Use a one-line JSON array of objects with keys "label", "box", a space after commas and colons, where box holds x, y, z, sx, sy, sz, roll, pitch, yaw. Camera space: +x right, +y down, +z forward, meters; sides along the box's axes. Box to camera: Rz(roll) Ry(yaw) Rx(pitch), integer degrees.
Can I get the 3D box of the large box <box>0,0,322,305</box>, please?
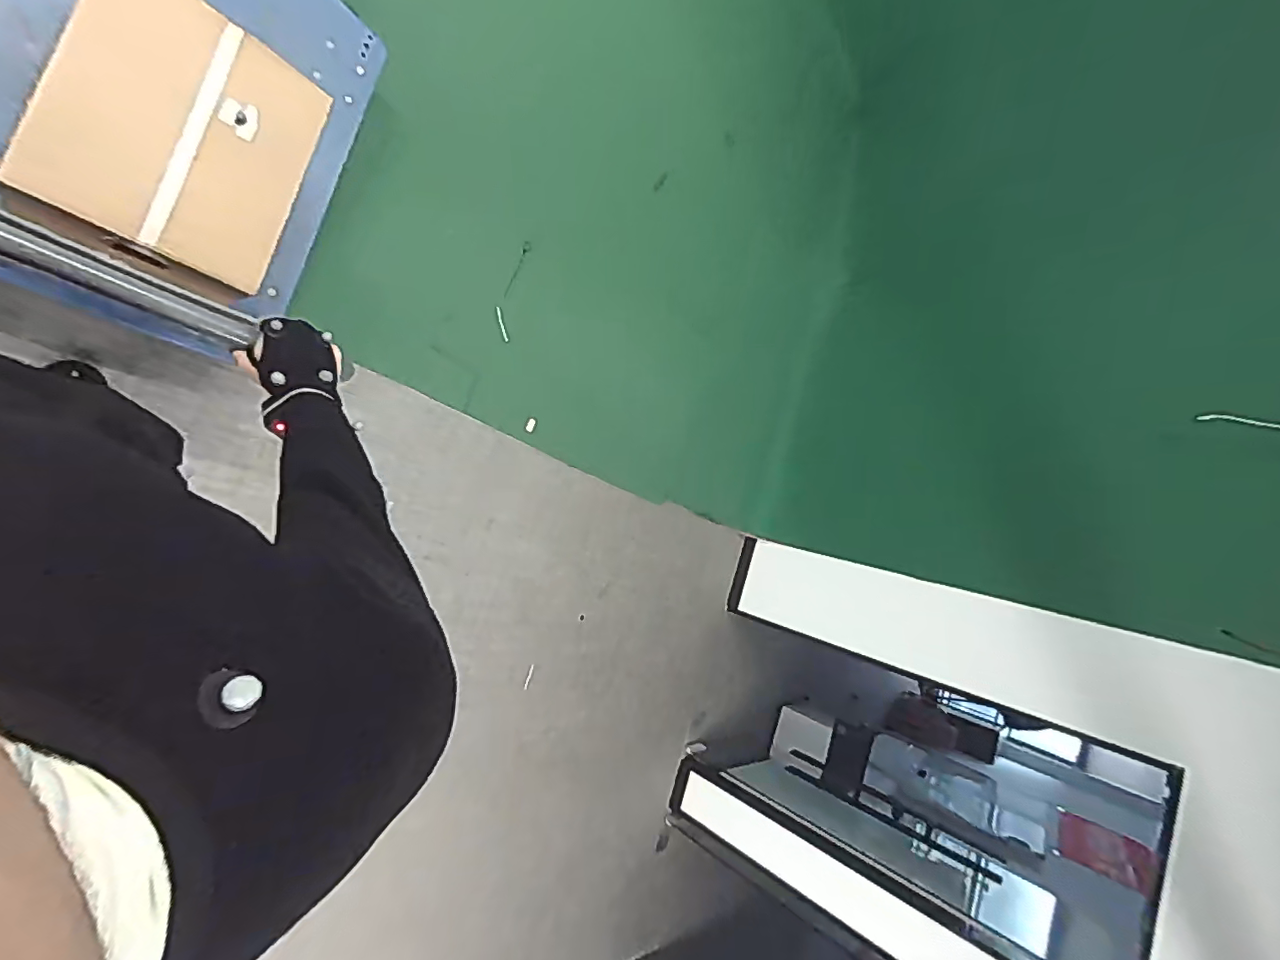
[{"label": "large box", "box": [-0.845, -0.580, 0.972, 0.320, 0.320, 0.408, 24, 80, -48]}]
